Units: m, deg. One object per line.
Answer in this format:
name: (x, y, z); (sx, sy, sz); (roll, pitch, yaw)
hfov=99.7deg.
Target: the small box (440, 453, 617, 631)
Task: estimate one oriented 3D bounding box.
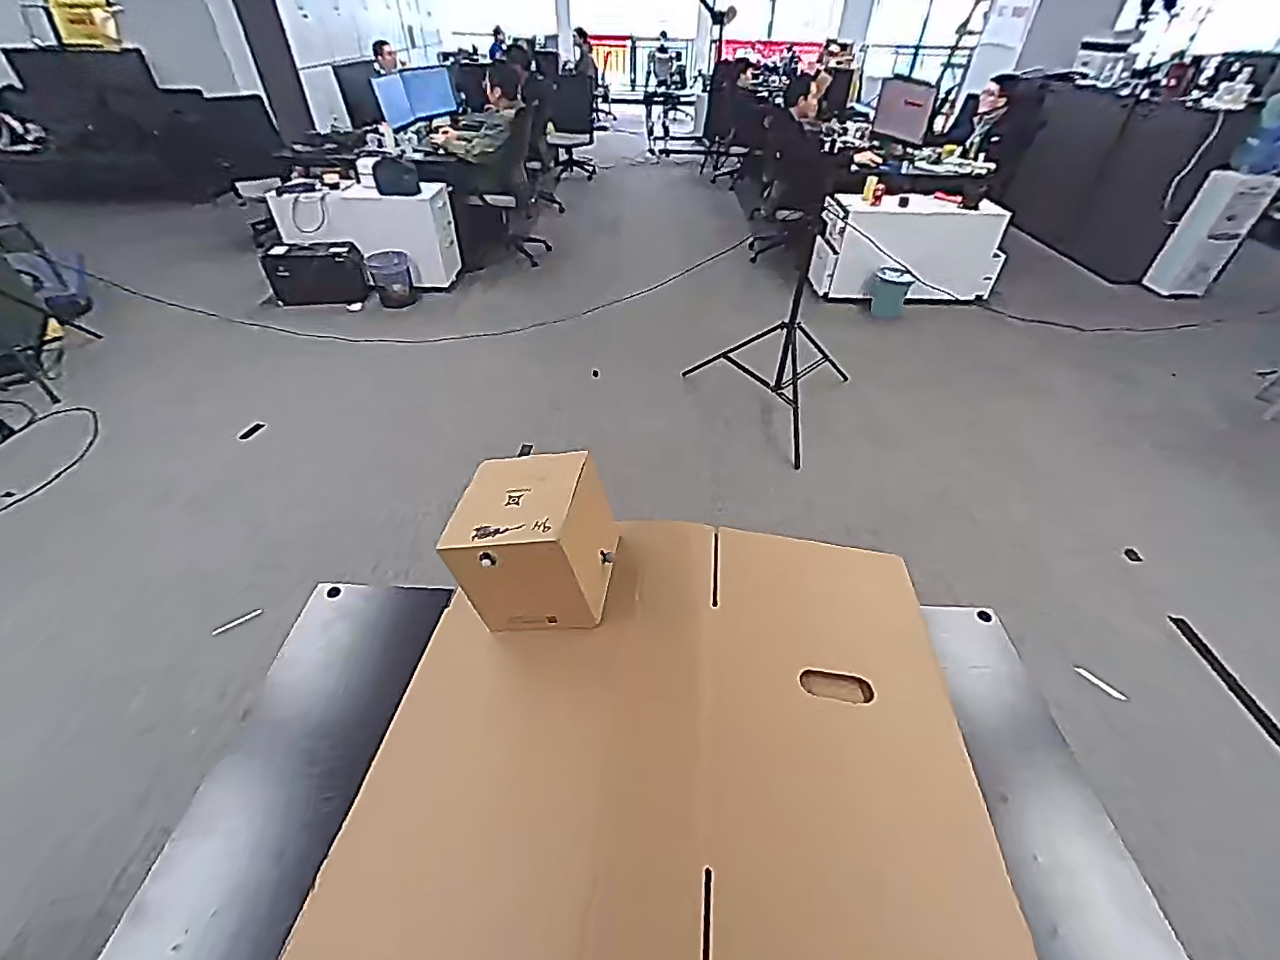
small box: (-0.138, 0.086, 0.748); (0.168, 0.176, 0.179); (-6, 38, 14)
